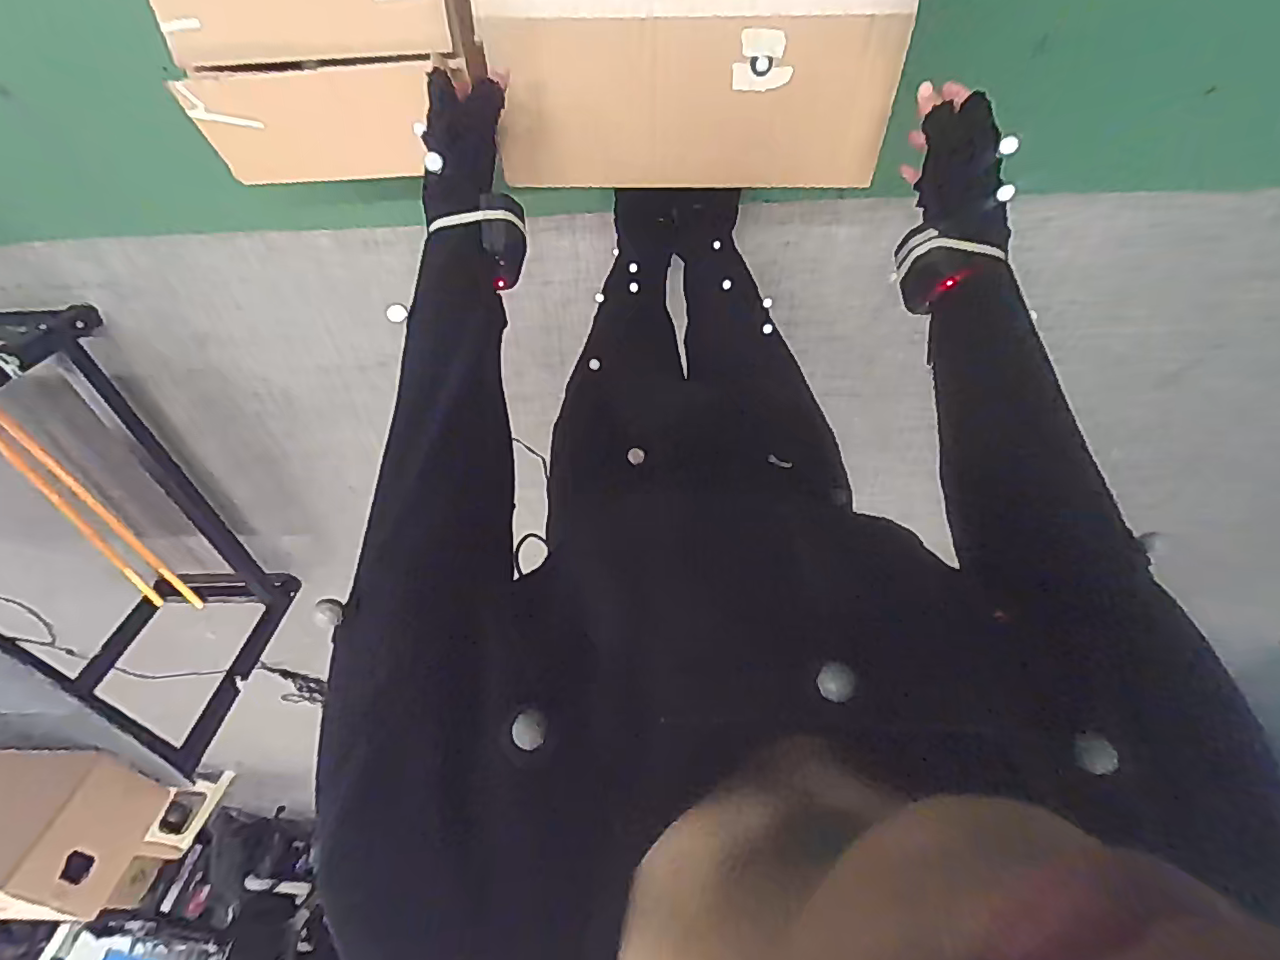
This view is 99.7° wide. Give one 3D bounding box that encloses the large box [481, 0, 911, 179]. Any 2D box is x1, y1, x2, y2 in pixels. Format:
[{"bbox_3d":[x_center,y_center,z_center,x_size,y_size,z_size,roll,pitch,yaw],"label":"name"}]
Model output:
[{"bbox_3d":[0.049,-0.548,0.596,0.408,0.320,0.320,0,134,0],"label":"large box"}]
